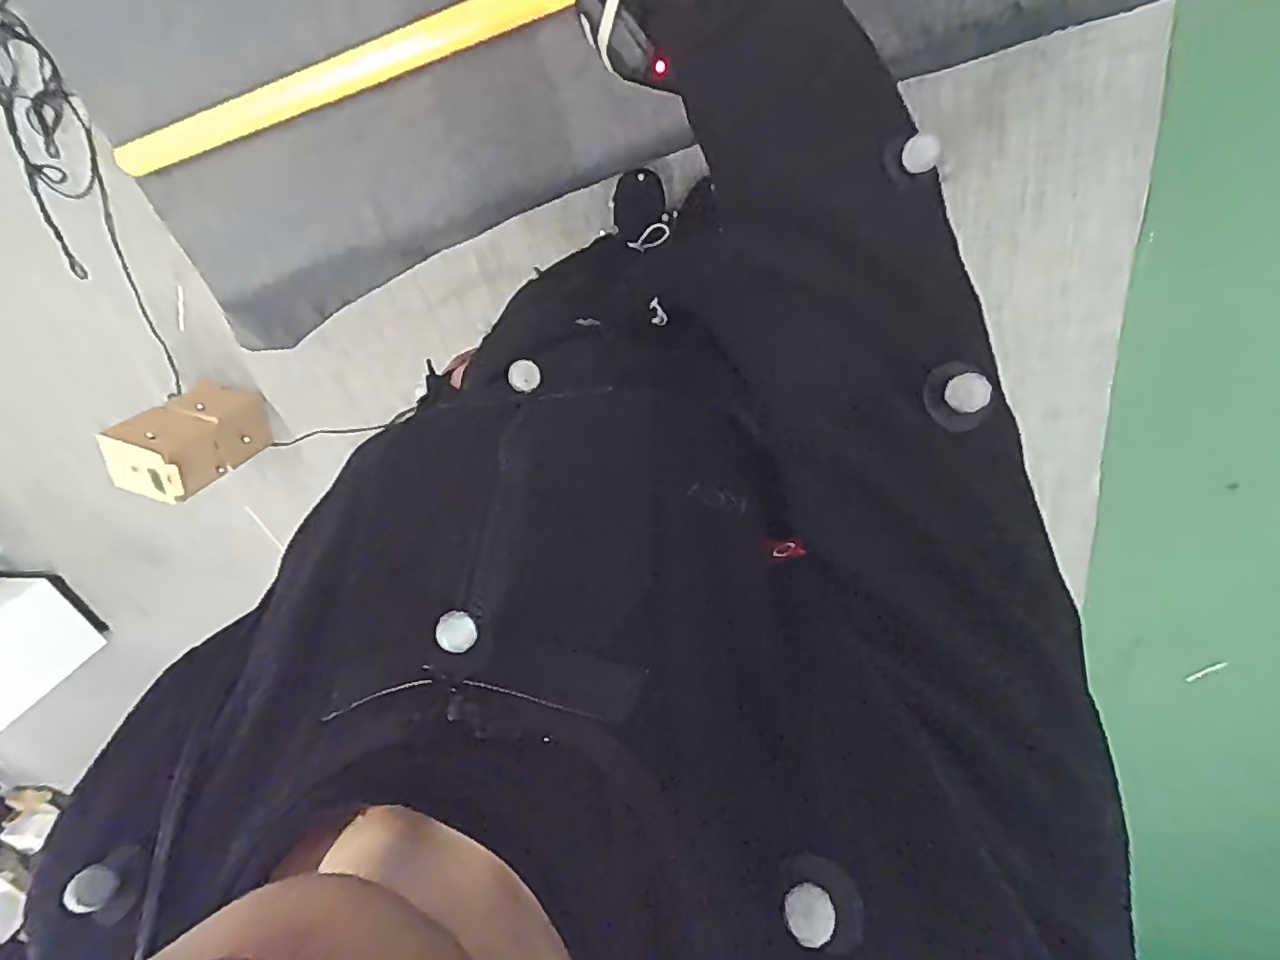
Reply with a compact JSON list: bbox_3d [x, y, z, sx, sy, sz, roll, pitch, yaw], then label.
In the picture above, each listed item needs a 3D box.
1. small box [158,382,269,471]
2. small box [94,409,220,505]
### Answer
[{"bbox_3d":[-1.213,-0.157,1.555,0.168,0.176,0.179,13,124,2],"label":"small box"},{"bbox_3d":[-1.249,-0.067,1.421,0.179,0.176,0.168,18,124,0],"label":"small box"}]
